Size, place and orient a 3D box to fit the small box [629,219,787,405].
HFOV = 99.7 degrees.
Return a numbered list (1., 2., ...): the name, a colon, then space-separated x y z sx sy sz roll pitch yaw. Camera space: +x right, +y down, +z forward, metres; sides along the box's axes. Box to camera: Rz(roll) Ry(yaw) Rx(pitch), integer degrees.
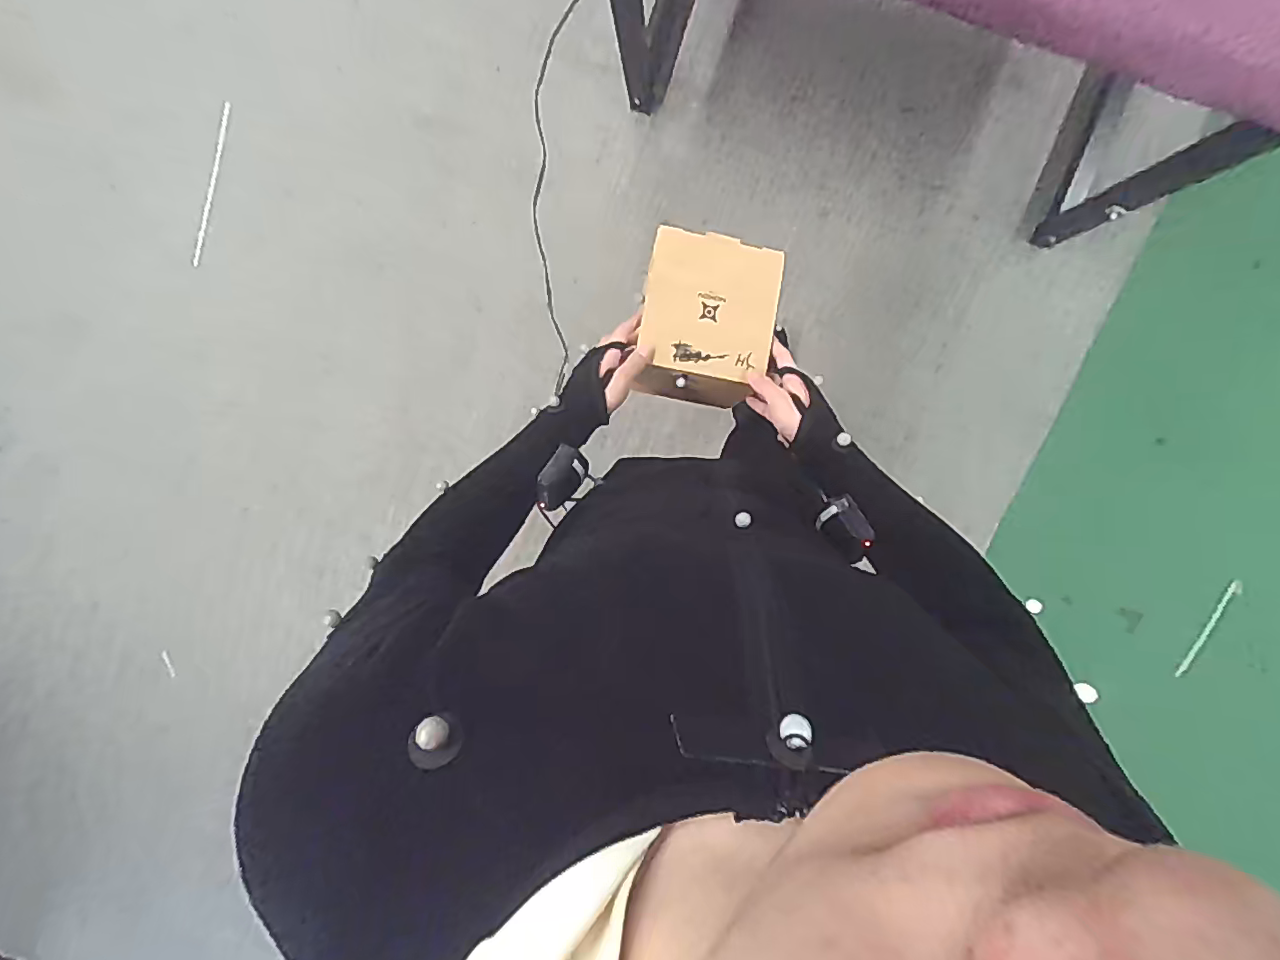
1. small box: 0.081 -0.214 0.735 0.168 0.176 0.179 10 87 -4
